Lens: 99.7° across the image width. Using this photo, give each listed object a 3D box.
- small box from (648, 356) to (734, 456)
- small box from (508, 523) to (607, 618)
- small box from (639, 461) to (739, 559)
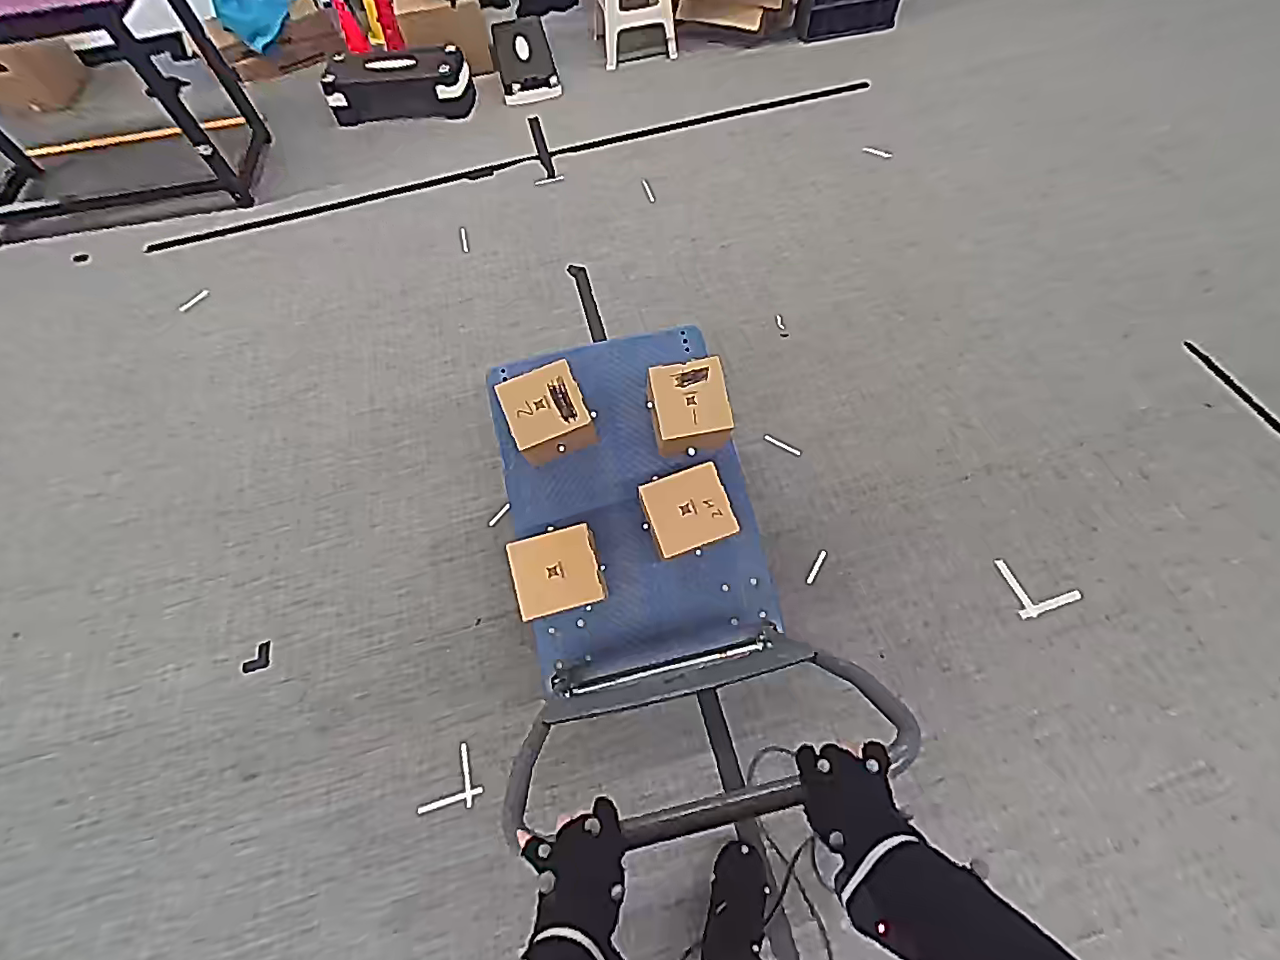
[{"bbox_3d":[0.114,-0.170,1.286,0.168,0.176,0.179,-10,79,-2],"label":"small box"},{"bbox_3d":[-0.178,0.206,1.208,0.179,0.176,0.168,-15,78,-5],"label":"small box"},{"bbox_3d":[0.106,0.076,1.234,0.179,0.176,0.168,-20,79,-4],"label":"small box"}]
